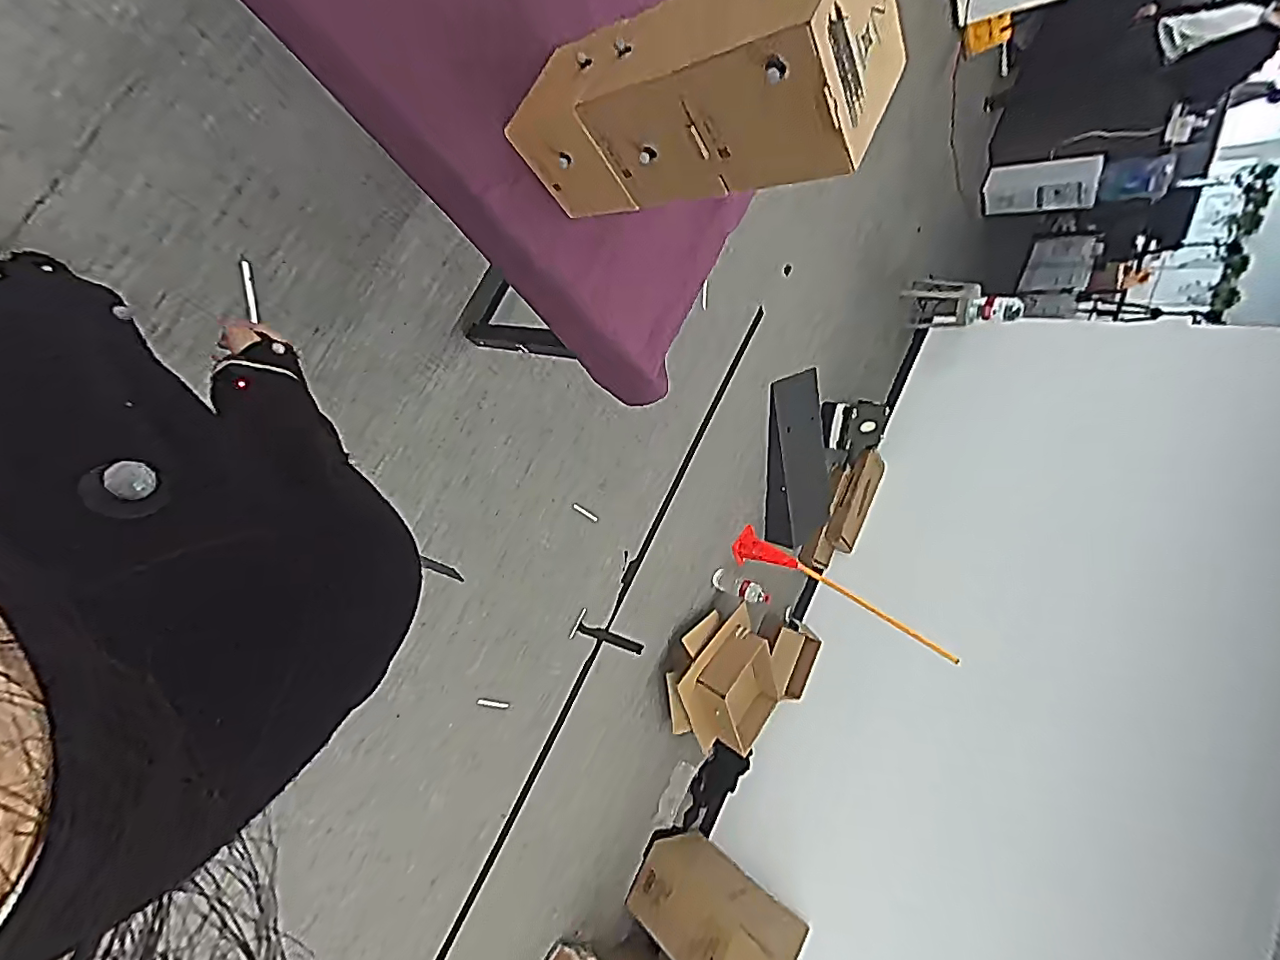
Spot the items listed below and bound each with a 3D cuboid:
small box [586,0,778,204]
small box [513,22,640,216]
[{"bbox_3d":[0.052,-0.502,0.728,0.168,0.176,0.179,40,73,-47],"label":"small box"},{"bbox_3d":[-0.068,-0.537,0.833,0.168,0.176,0.179,39,74,-47],"label":"small box"}]
